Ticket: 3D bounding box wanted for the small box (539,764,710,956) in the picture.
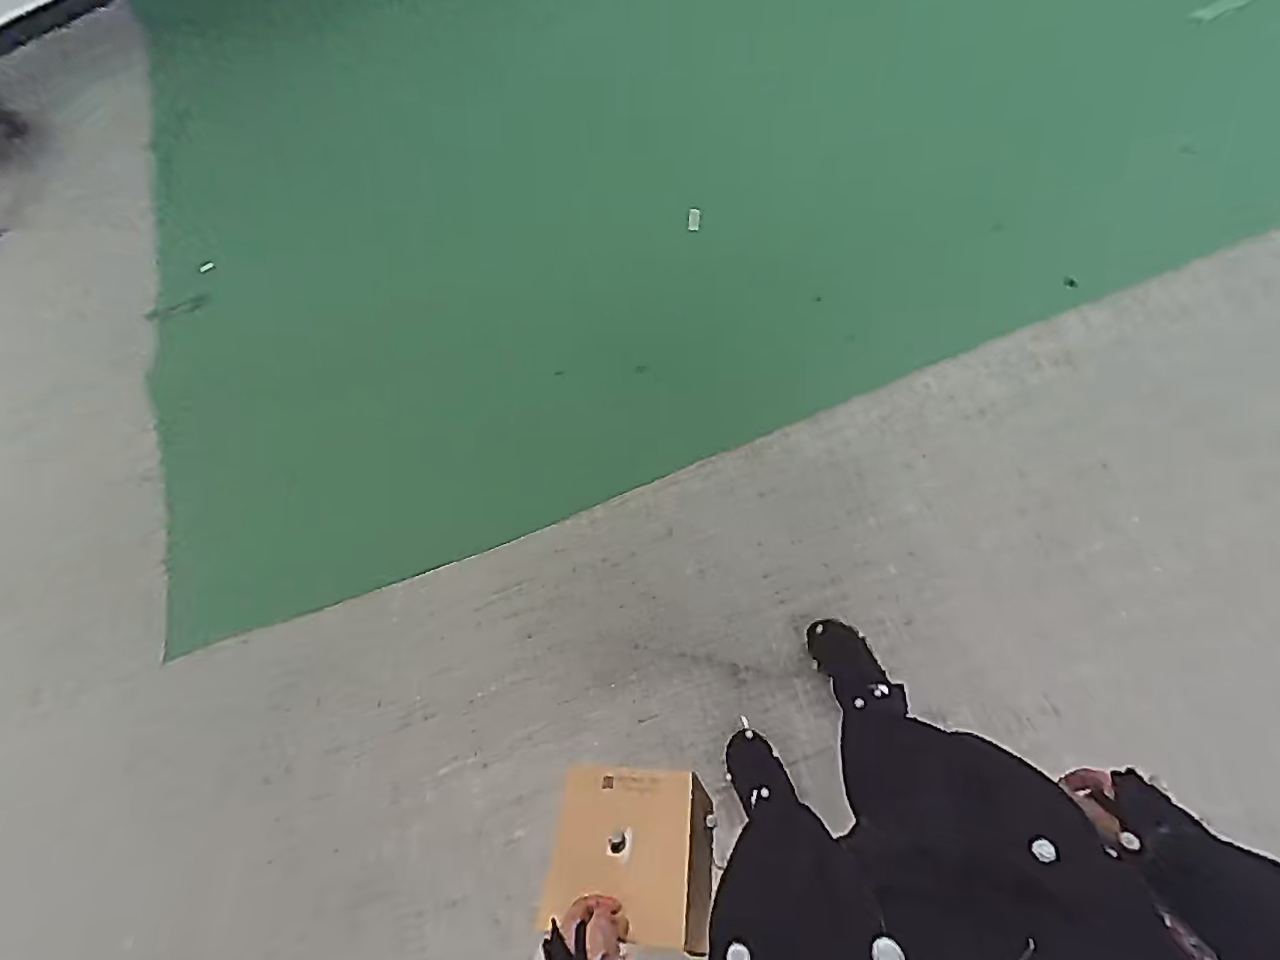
[{"bbox_3d":[-0.005,0.470,0.676,0.168,0.179,0.176,-4,47,15],"label":"small box"}]
